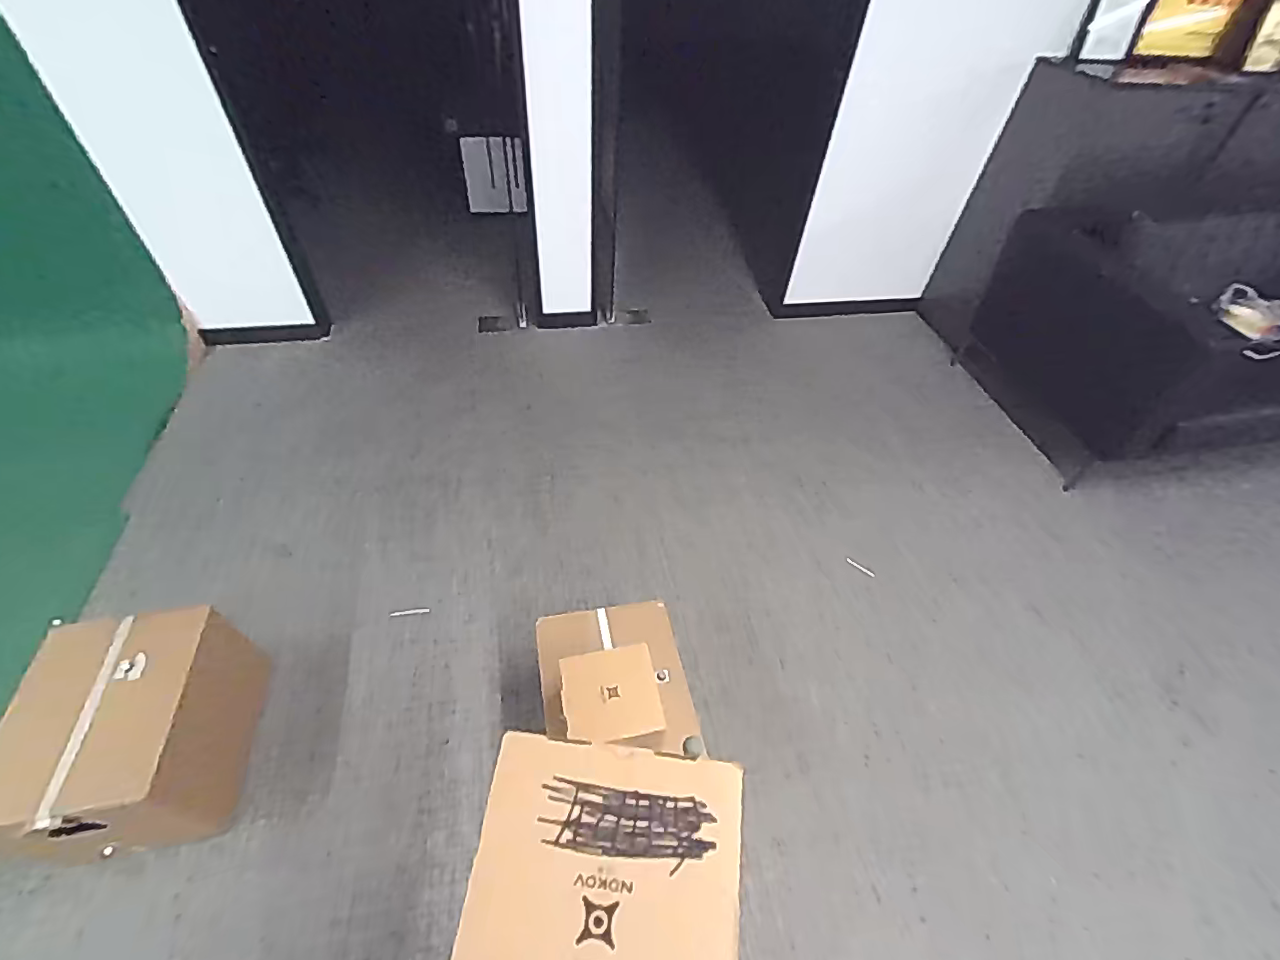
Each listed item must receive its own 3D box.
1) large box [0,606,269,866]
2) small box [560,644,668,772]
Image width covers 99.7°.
[{"bbox_3d":[-1.082,0.548,1.178,0.320,0.320,0.408,-7,48,-11],"label":"large box"},{"bbox_3d":[-0.055,0.441,1.042,0.179,0.176,0.168,-9,50,-9],"label":"small box"}]
